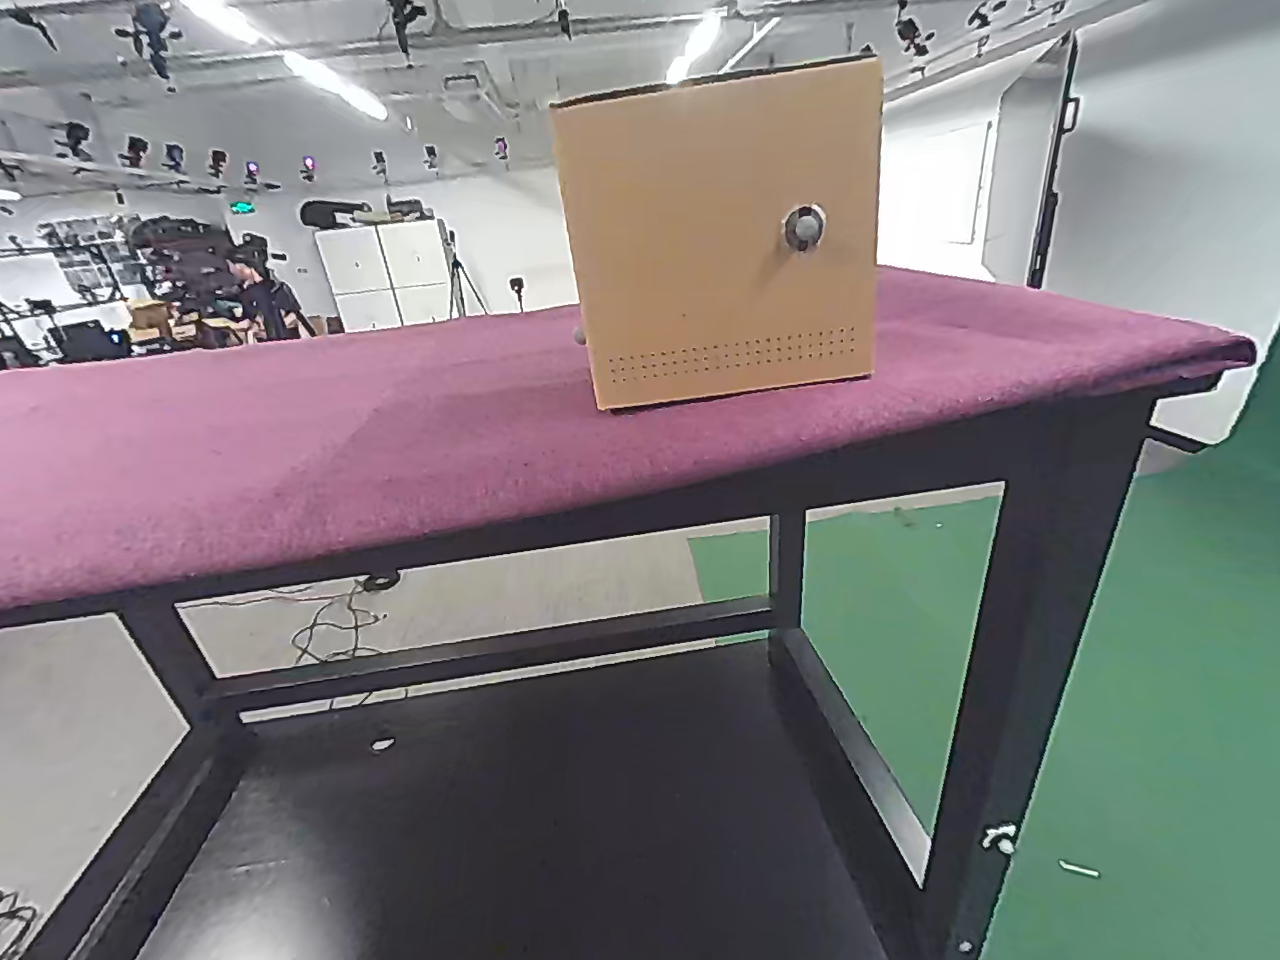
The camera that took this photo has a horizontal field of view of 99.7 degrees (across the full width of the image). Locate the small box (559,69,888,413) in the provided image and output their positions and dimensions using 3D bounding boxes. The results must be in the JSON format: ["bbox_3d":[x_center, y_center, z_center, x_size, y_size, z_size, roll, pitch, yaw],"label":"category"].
[{"bbox_3d":[0.052,-0.157,0.385,0.179,0.176,0.168,-8,22,2],"label":"small box"}]
